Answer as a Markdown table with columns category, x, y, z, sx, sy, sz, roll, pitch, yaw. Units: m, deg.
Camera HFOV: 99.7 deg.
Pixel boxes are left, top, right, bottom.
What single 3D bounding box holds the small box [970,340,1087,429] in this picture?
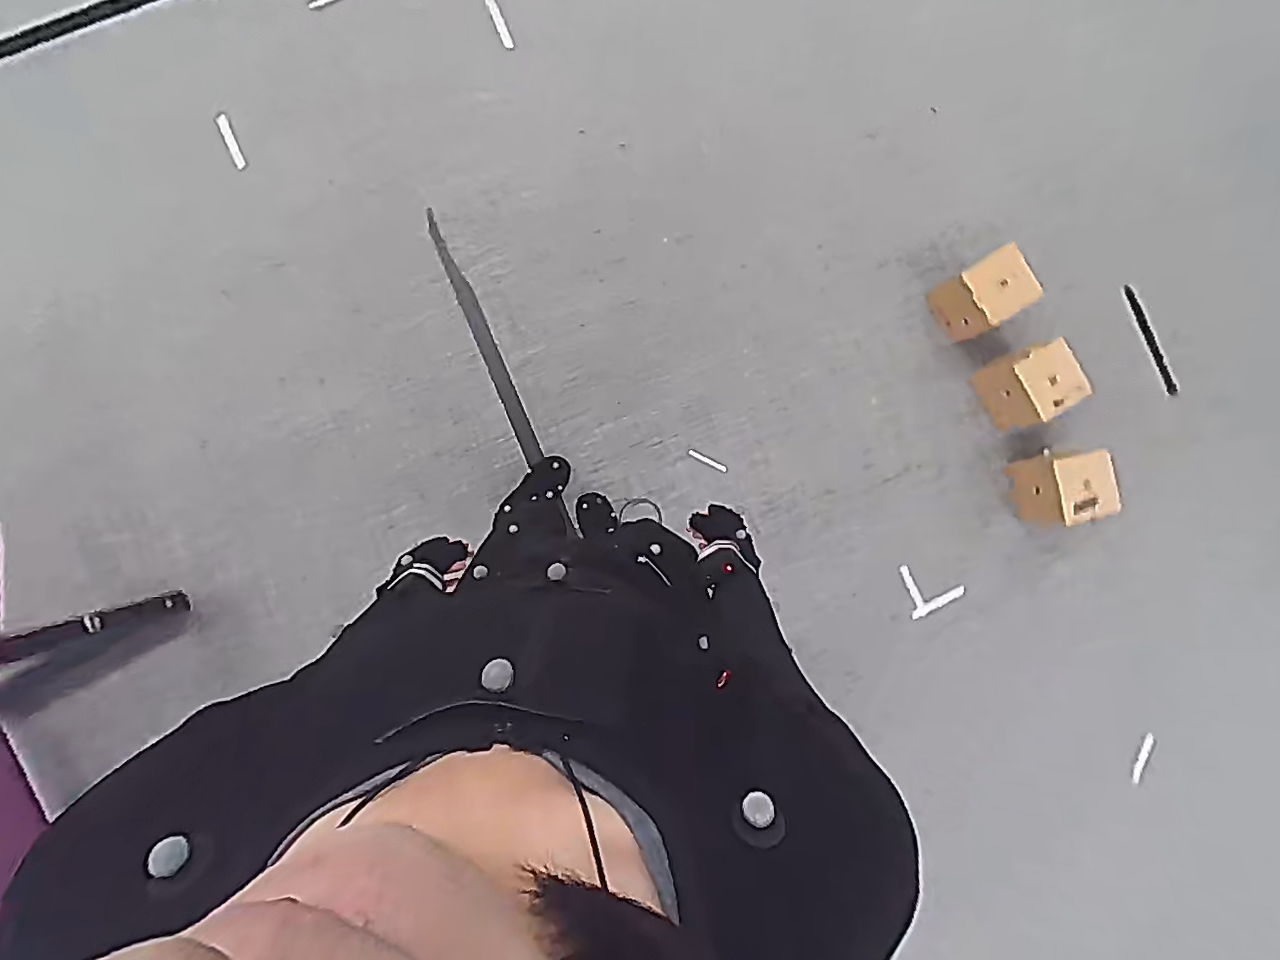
| category | x | y | z | sx | sy | sz | roll | pitch | yaw |
| --- | --- | --- | --- | --- | --- | --- | --- | --- | --- |
| small box | 1.084 | -0.260 | 1.526 | 0.168 | 0.176 | 0.179 | -32 | 91 | -3 |

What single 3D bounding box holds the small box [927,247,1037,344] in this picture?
| category | x | y | z | sx | sy | sz | roll | pitch | yaw |
| --- | --- | --- | --- | --- | --- | --- | --- | --- | --- |
| small box | 0.948 | -0.510 | 1.522 | 0.179 | 0.176 | 0.168 | -34 | 92 | -5 |

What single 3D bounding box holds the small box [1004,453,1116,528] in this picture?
| category | x | y | z | sx | sy | sz | roll | pitch | yaw |
| --- | --- | --- | --- | --- | --- | --- | --- | --- | --- |
| small box | 1.179 | 0.027 | 1.529 | 0.168 | 0.176 | 0.179 | -13 | 89 | -4 |
